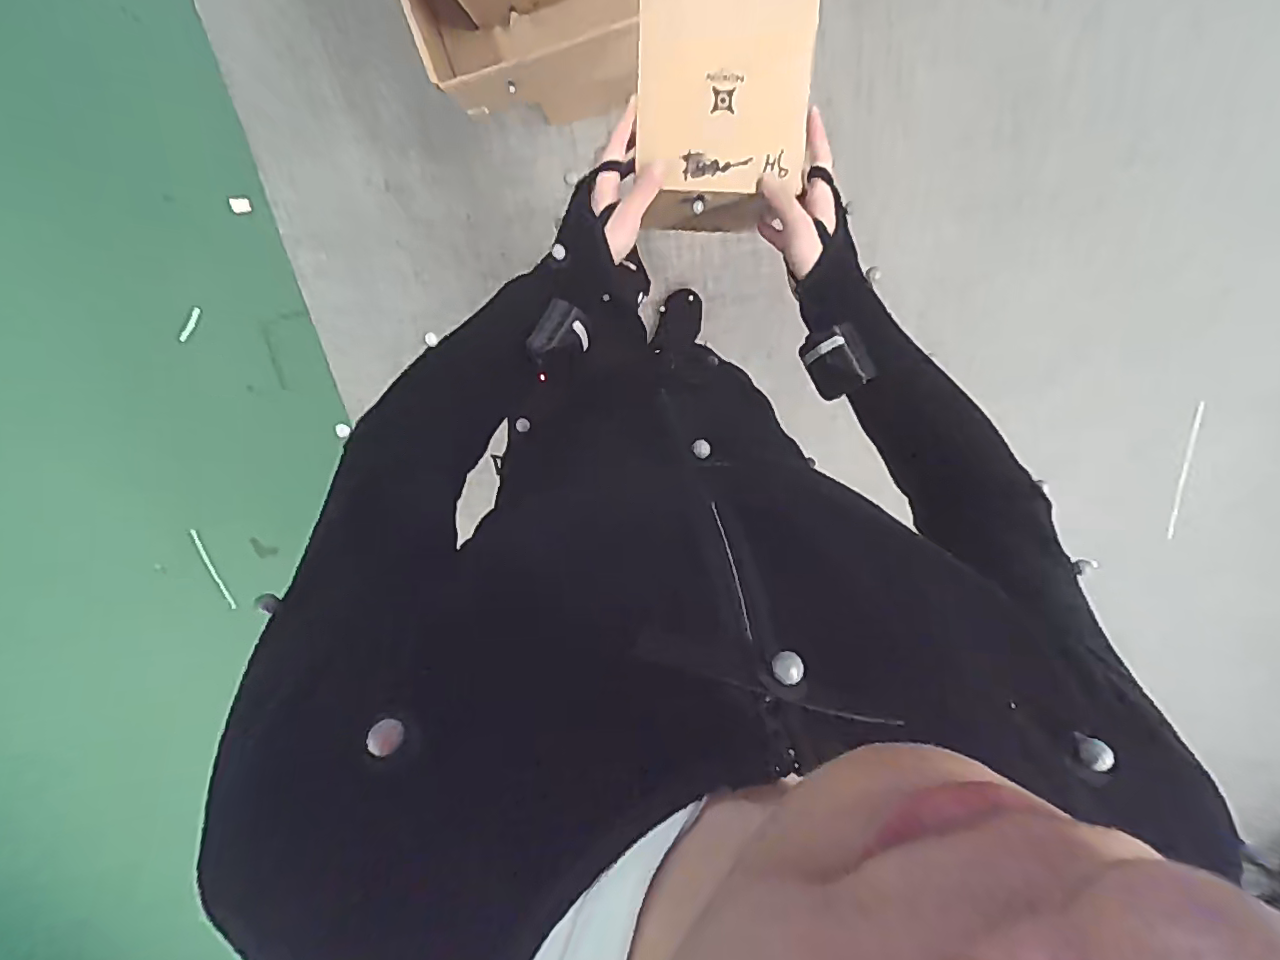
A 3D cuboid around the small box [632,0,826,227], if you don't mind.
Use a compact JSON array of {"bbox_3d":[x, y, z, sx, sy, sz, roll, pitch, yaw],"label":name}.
[{"bbox_3d":[0.078,-0.383,0.568,0.168,0.176,0.179,2,104,-2],"label":"small box"}]
